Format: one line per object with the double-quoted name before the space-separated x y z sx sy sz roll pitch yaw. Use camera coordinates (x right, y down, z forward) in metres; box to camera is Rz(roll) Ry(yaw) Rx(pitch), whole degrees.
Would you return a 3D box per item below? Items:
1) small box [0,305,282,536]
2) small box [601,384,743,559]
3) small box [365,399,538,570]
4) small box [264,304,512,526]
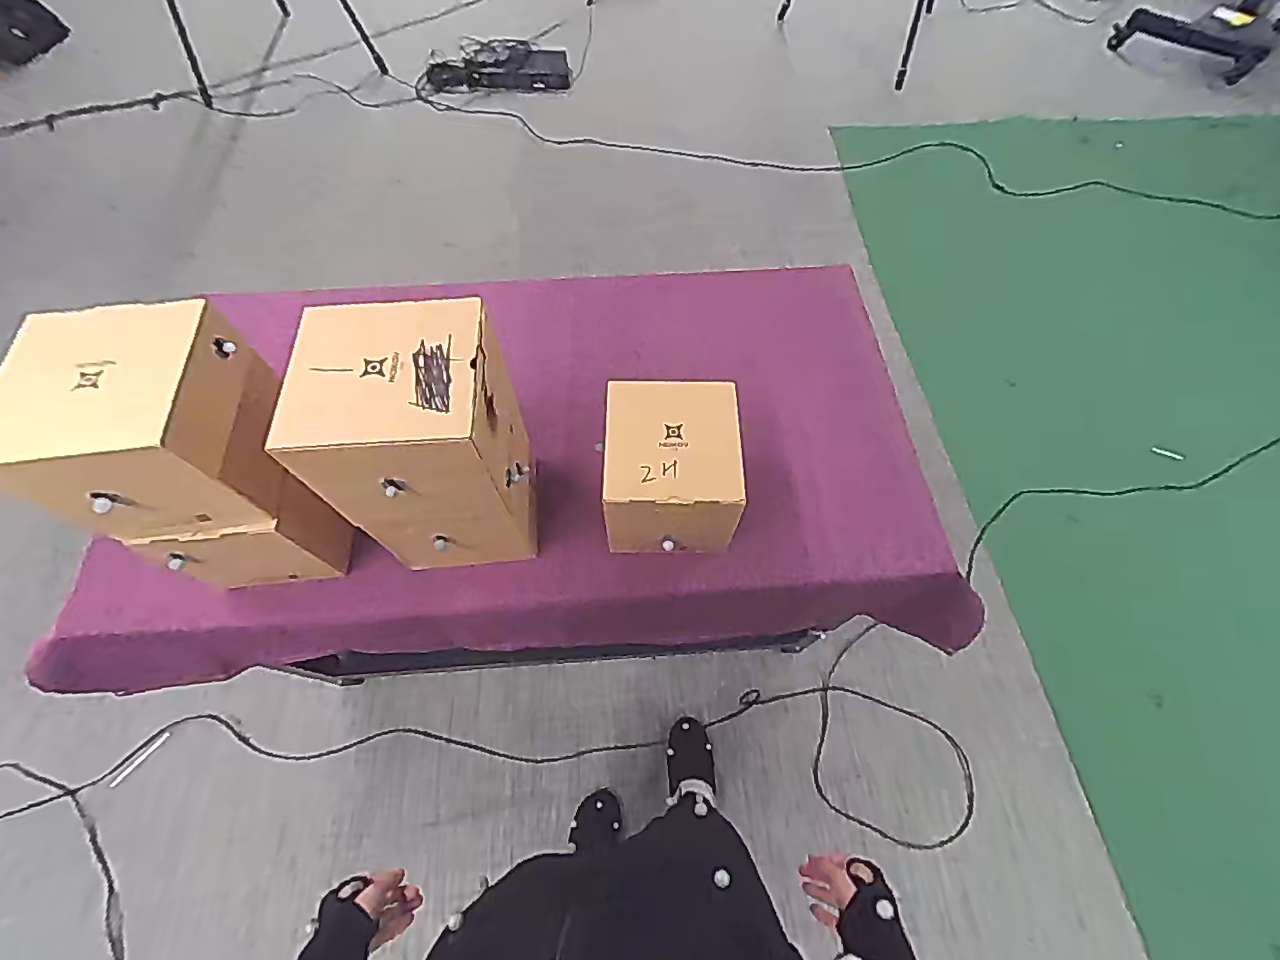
"small box" -0.497 -0.052 0.565 0.168 0.176 0.179 -7 61 -4
"small box" 0.038 -0.008 0.724 0.168 0.176 0.179 0 62 1
"small box" -0.238 0.012 0.715 0.179 0.176 0.168 -4 62 -2
"small box" -0.237 -0.060 0.567 0.179 0.176 0.168 -4 62 -1
